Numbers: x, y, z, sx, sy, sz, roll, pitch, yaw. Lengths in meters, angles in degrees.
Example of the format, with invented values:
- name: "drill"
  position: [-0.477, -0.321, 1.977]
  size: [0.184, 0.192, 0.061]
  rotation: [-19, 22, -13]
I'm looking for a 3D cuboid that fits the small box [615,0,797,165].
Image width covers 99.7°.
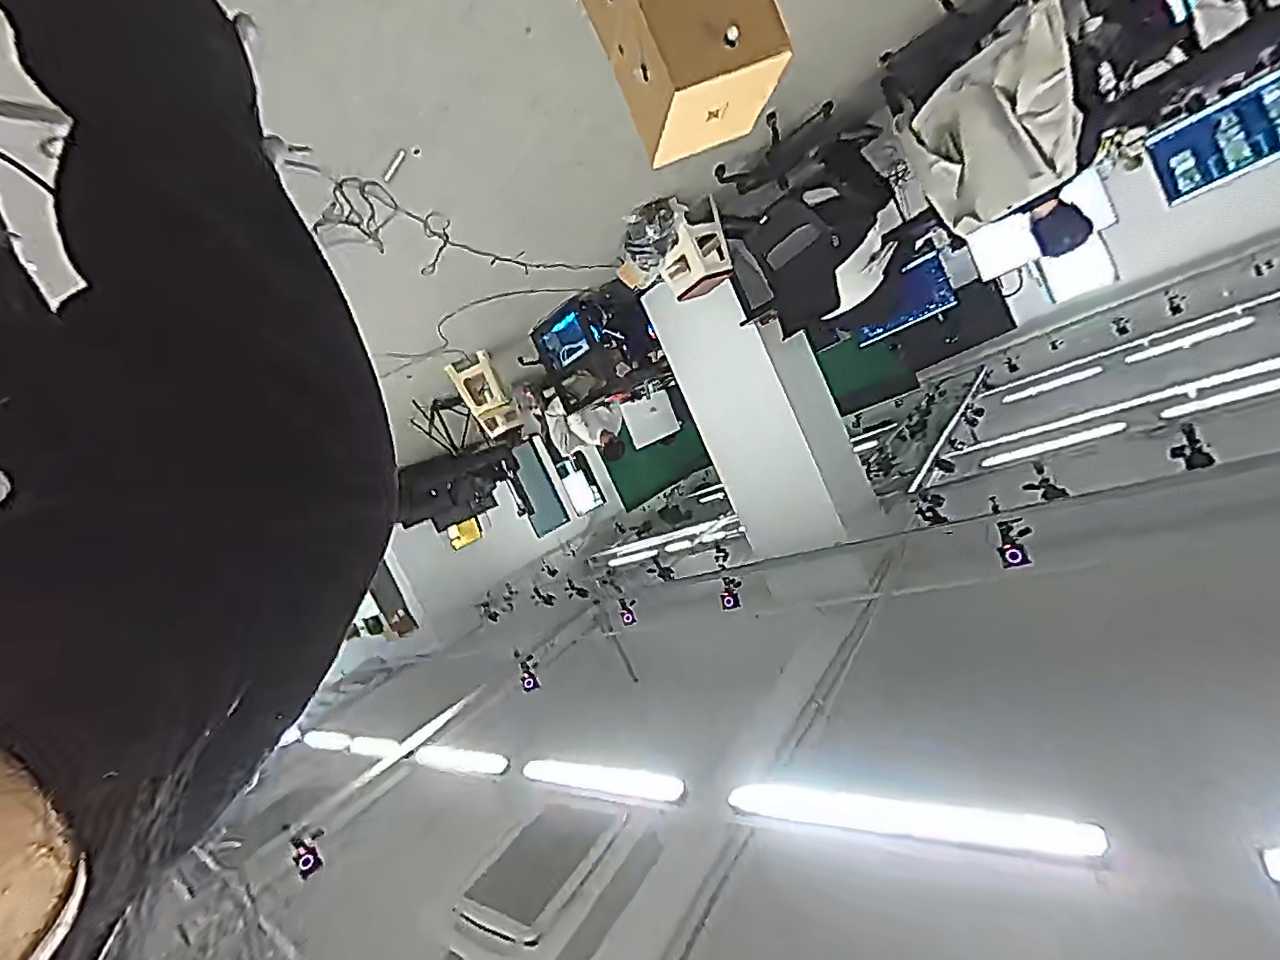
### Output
- name: "small box"
  position: [0.078, -0.590, 0.751]
  size: [0.179, 0.176, 0.168]
  rotation: [-26, -176, -8]

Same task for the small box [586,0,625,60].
- name: "small box"
  position: [0.012, -0.739, 0.737]
  size: [0.179, 0.176, 0.168]
  rotation: [-26, -176, -8]
